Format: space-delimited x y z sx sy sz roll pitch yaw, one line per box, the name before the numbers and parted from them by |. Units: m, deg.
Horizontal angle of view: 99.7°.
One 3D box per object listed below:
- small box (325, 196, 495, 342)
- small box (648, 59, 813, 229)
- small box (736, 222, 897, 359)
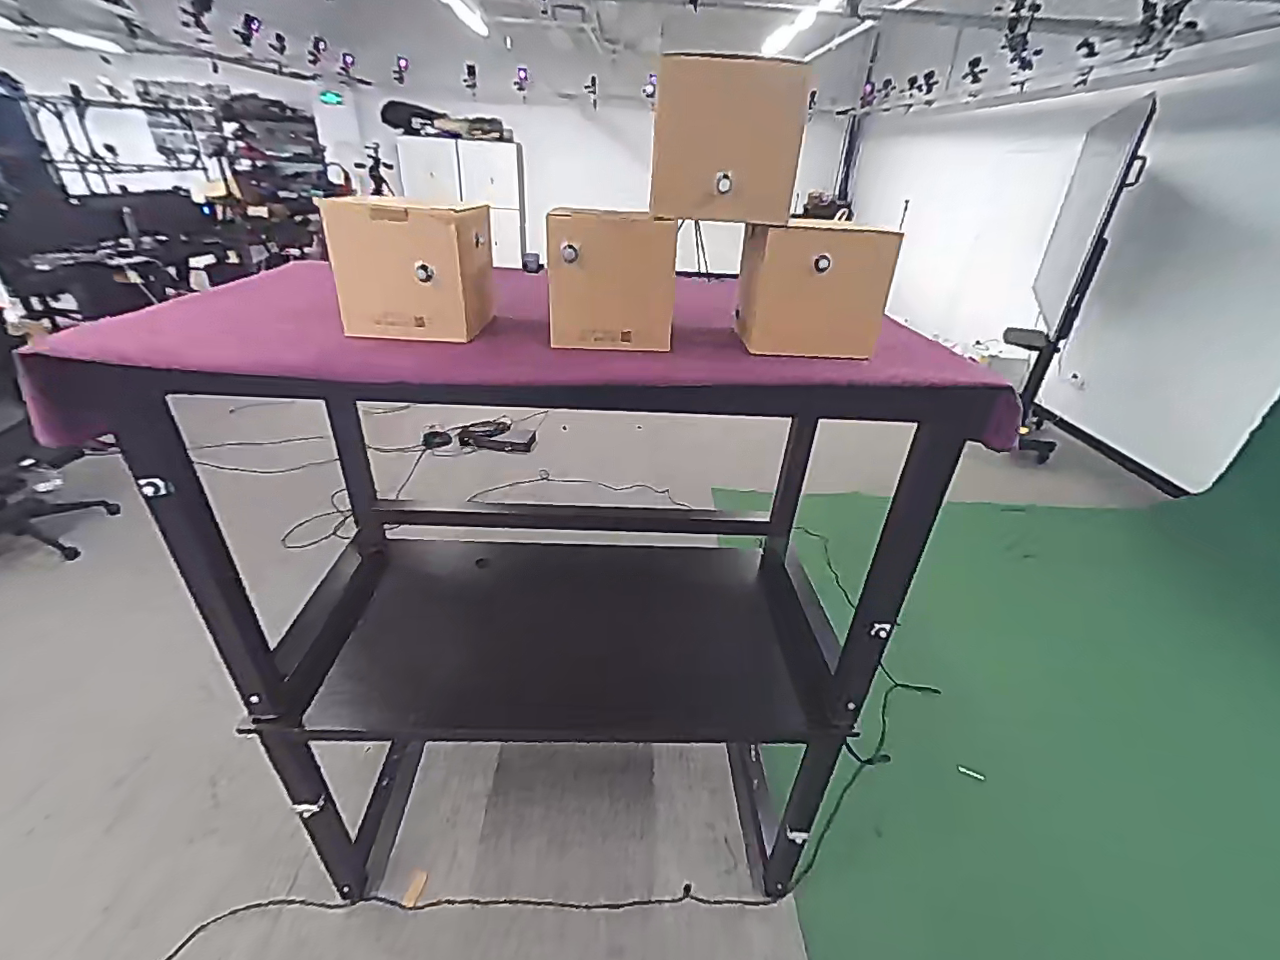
small box | -0.308 -0.302 0.770 0.168 0.176 0.179 4 29 -2
small box | 0.105 -0.431 0.714 0.179 0.176 0.168 4 29 -2
small box | 0.244 -0.284 0.802 0.179 0.176 0.168 2 30 -3
